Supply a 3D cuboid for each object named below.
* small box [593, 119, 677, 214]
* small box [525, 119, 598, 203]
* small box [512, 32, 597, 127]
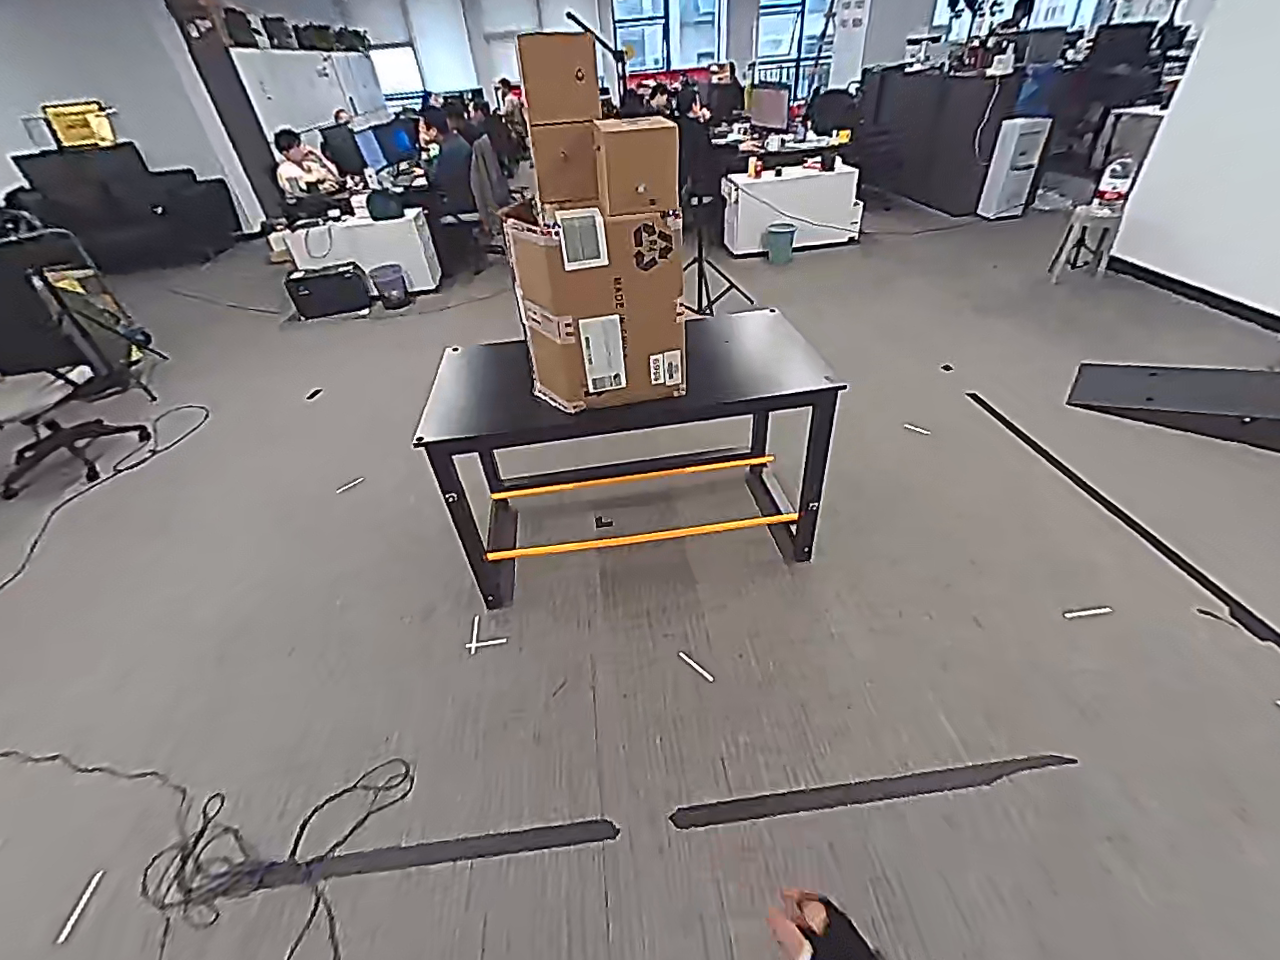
[{"bbox_3d":[-0.014,-0.729,1.258,0.168,0.176,0.179,-9,40,-7],"label":"small box"},{"bbox_3d":[-0.193,-0.822,1.392,0.179,0.176,0.168,-10,37,-7],"label":"small box"},{"bbox_3d":[-0.201,-0.951,1.292,0.179,0.176,0.168,-11,36,-8],"label":"small box"}]
